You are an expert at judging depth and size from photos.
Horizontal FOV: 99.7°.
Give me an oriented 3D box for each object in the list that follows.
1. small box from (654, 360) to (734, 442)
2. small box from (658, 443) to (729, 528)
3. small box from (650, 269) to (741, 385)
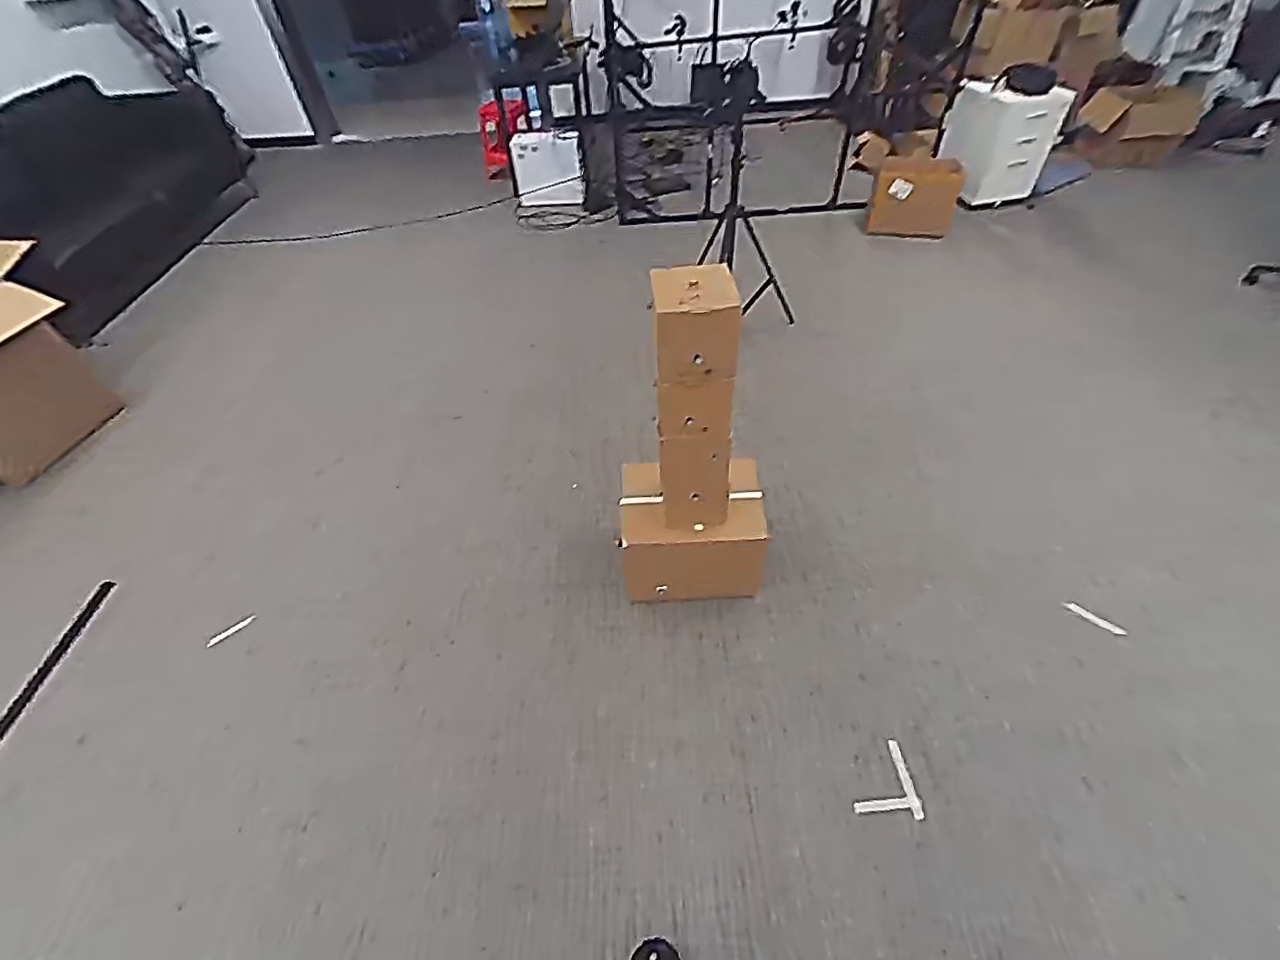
[{"bbox_3d":[0.118,-0.209,1.261,0.168,0.176,0.179,-4,48,0],"label":"small box"},{"bbox_3d":[0.143,0.019,1.494,0.179,0.176,0.168,-4,48,-1],"label":"small box"},{"bbox_3d":[0.109,-0.322,1.141,0.168,0.176,0.179,-5,49,0],"label":"small box"}]
